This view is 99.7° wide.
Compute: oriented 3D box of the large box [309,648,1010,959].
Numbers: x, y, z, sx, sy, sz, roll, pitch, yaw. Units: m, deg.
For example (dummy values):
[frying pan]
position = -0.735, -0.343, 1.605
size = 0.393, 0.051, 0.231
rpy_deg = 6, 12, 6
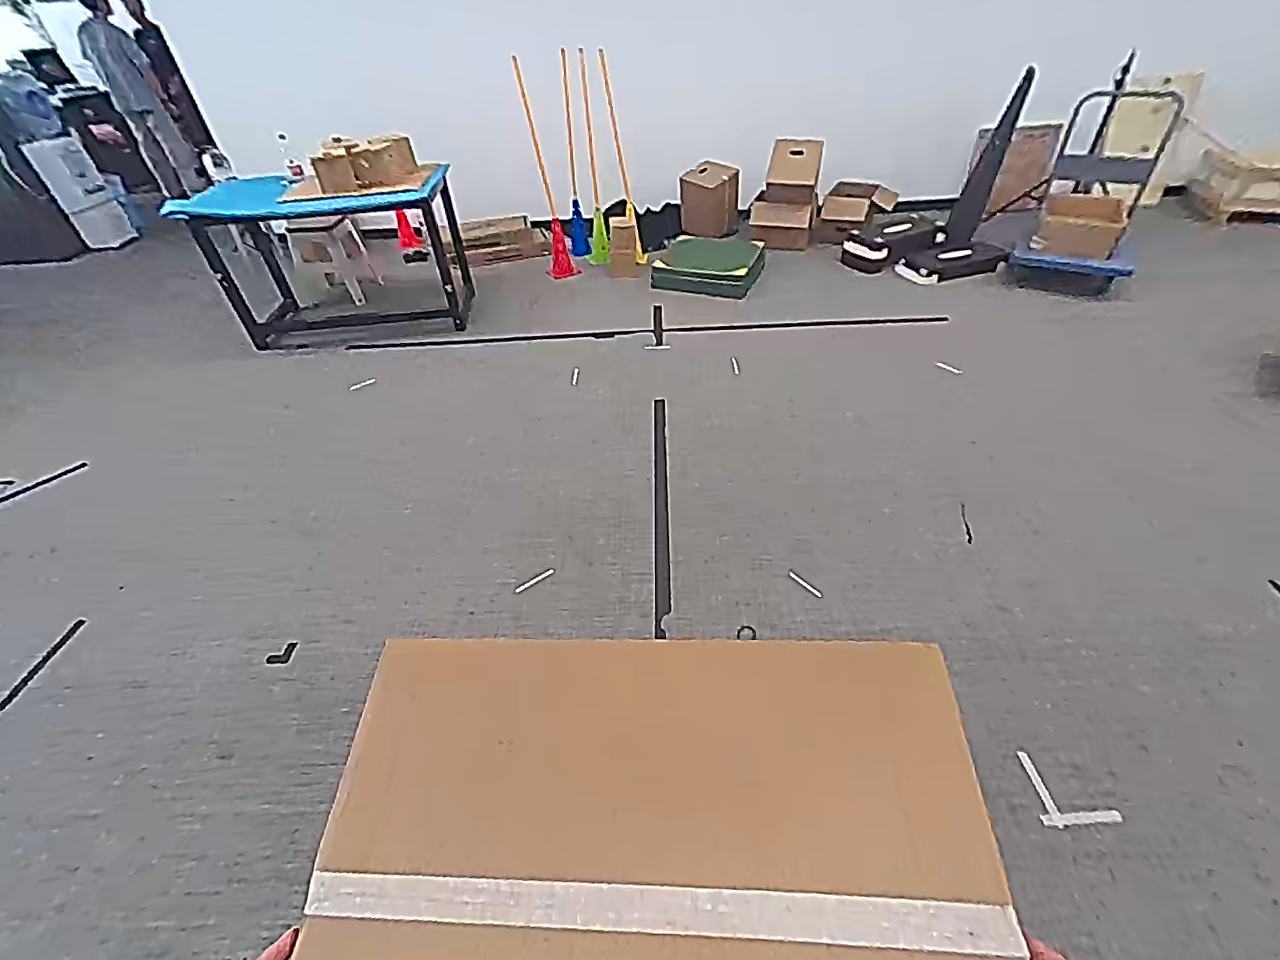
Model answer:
[large box]
position = 0.017, 0.339, 0.439
size = 0.408, 0.320, 0.320
rpy_deg = -2, 56, 6
